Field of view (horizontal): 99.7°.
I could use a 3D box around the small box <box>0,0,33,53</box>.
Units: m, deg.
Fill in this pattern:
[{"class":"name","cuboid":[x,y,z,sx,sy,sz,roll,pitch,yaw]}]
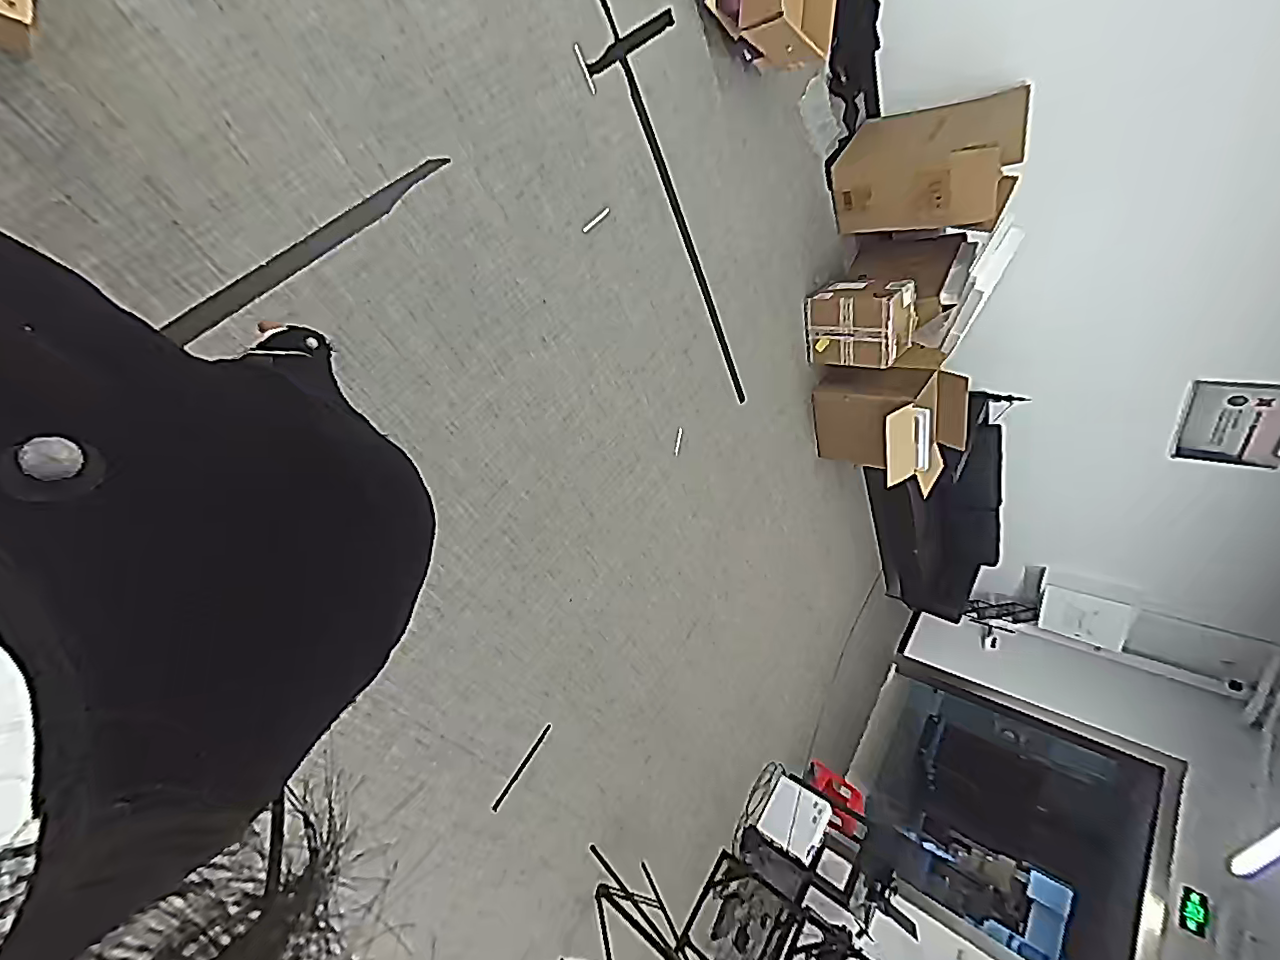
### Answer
[{"class":"small box","cuboid":[-1.042,-0.798,0.809,0.168,0.176,0.179,-5,105,-48]}]
